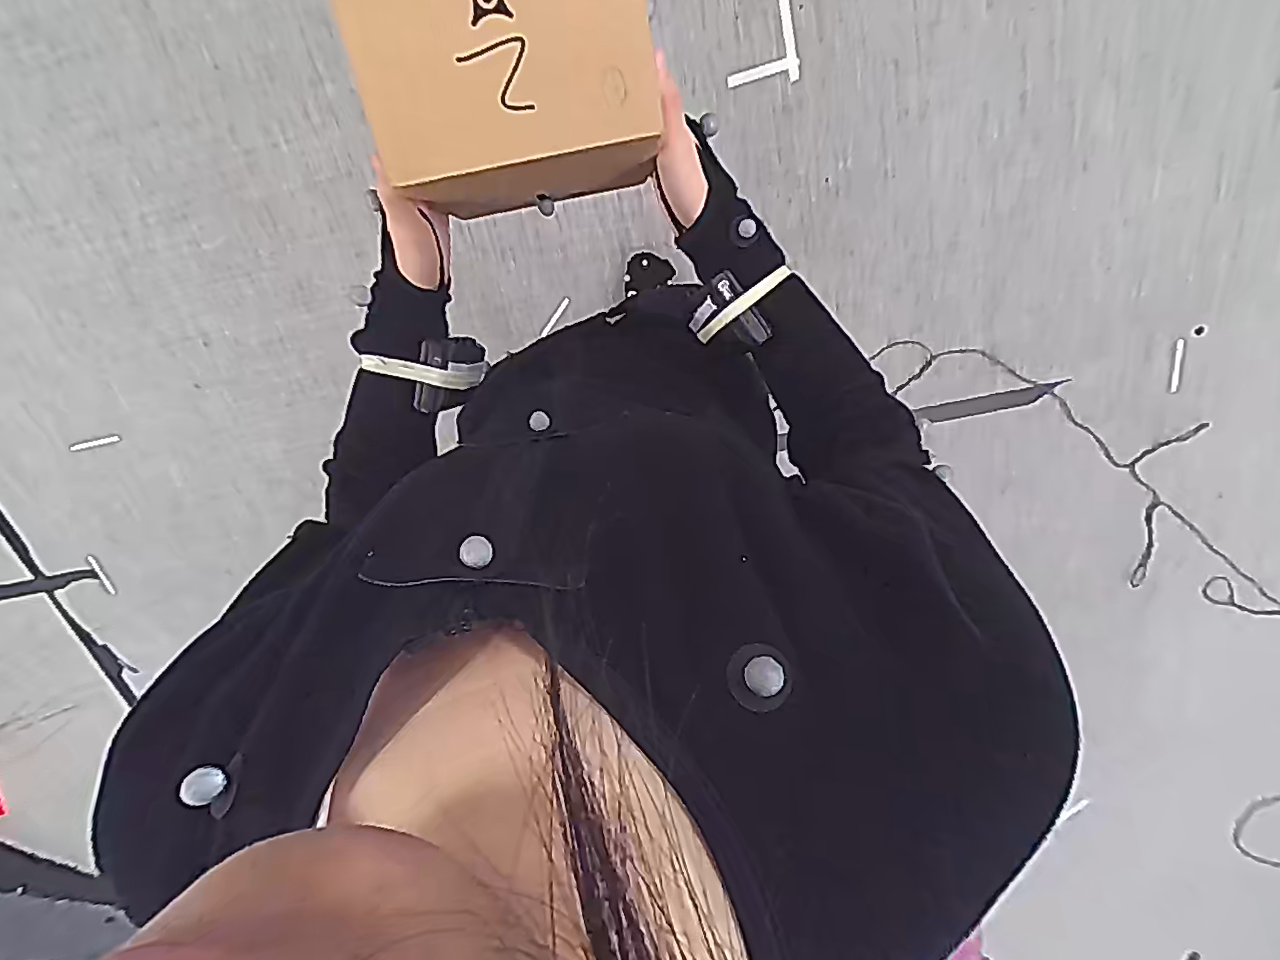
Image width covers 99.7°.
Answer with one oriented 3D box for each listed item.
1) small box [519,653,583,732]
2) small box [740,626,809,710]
[{"bbox_3d":[-0.277,0.663,1.702,0.179,0.176,0.168,4,110,-3],"label":"small box"},{"bbox_3d":[0.407,0.567,1.658,0.168,0.176,0.179,-11,112,4],"label":"small box"}]
